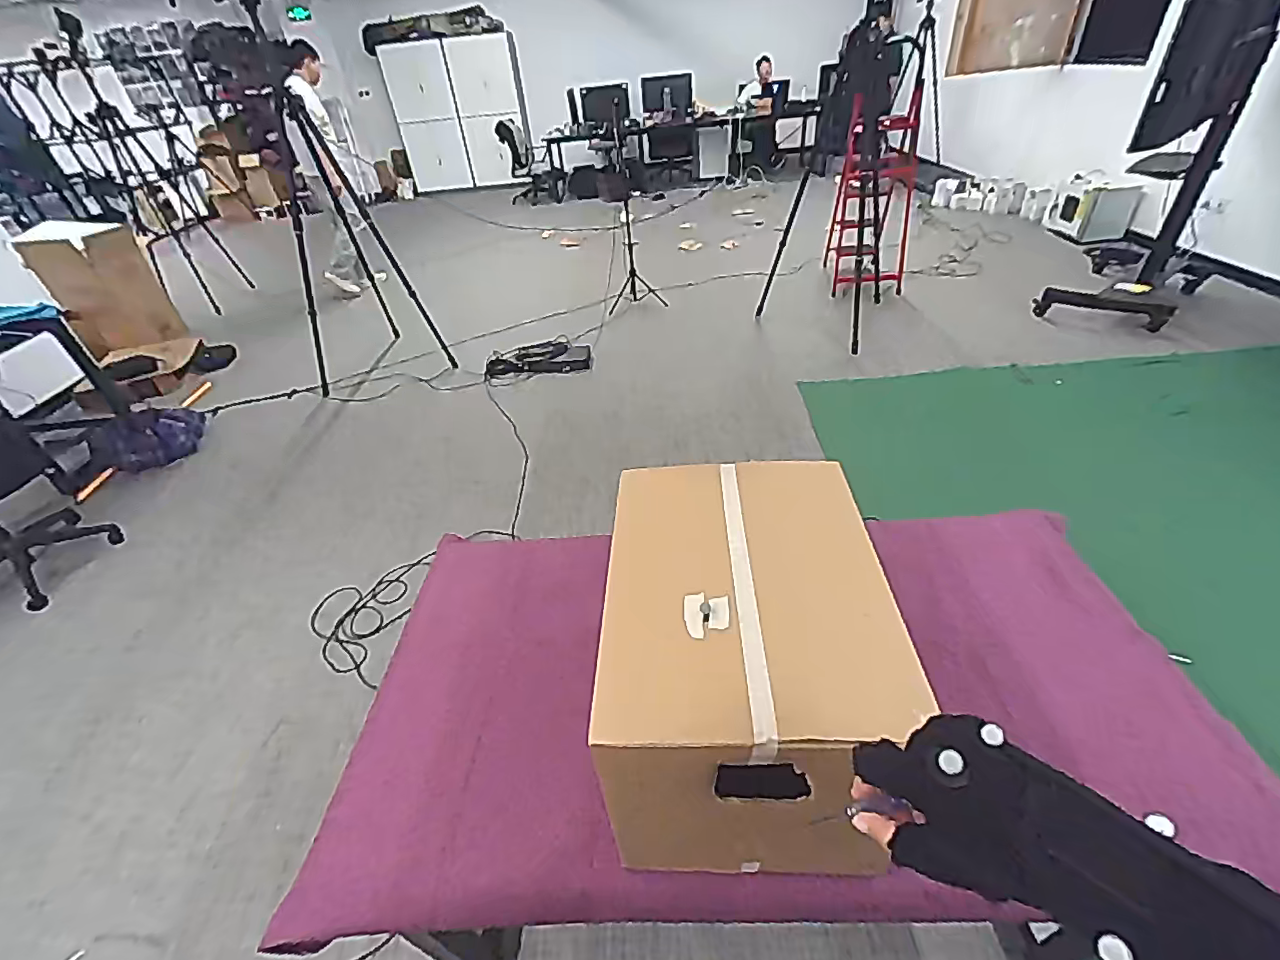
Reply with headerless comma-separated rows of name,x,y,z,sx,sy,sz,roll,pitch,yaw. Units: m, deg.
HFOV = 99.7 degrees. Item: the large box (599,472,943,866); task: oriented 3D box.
large box,0.130,0.230,0.727,0.320,0.320,0.408,-2,39,5
